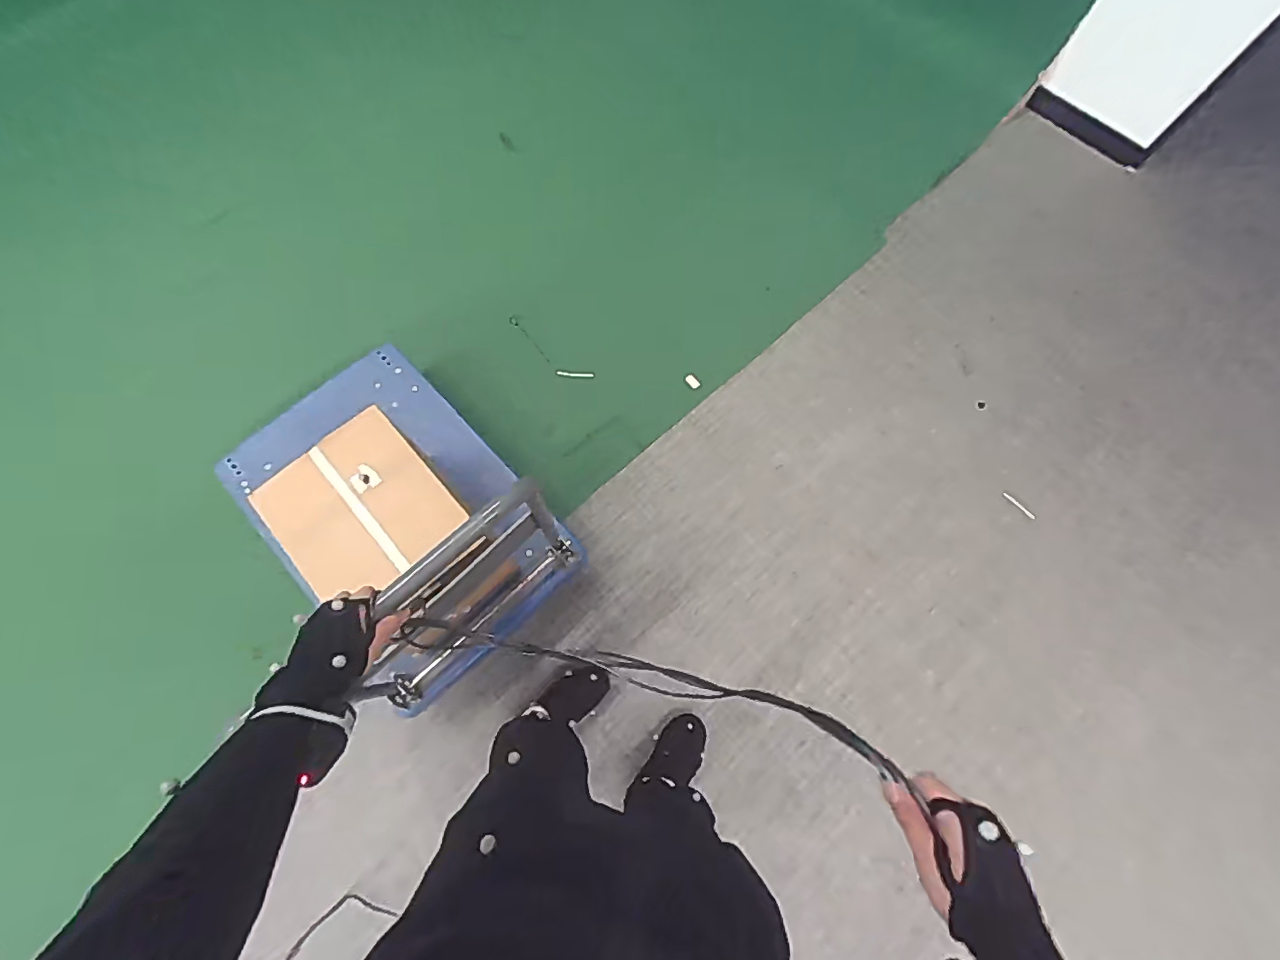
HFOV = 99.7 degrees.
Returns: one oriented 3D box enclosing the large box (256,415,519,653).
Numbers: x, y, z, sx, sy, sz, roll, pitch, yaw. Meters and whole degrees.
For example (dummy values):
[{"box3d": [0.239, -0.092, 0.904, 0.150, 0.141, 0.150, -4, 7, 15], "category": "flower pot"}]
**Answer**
[{"box3d": [-0.545, 0.138, 1.237, 0.320, 0.320, 0.408, -40, 75, -14], "category": "large box"}]
